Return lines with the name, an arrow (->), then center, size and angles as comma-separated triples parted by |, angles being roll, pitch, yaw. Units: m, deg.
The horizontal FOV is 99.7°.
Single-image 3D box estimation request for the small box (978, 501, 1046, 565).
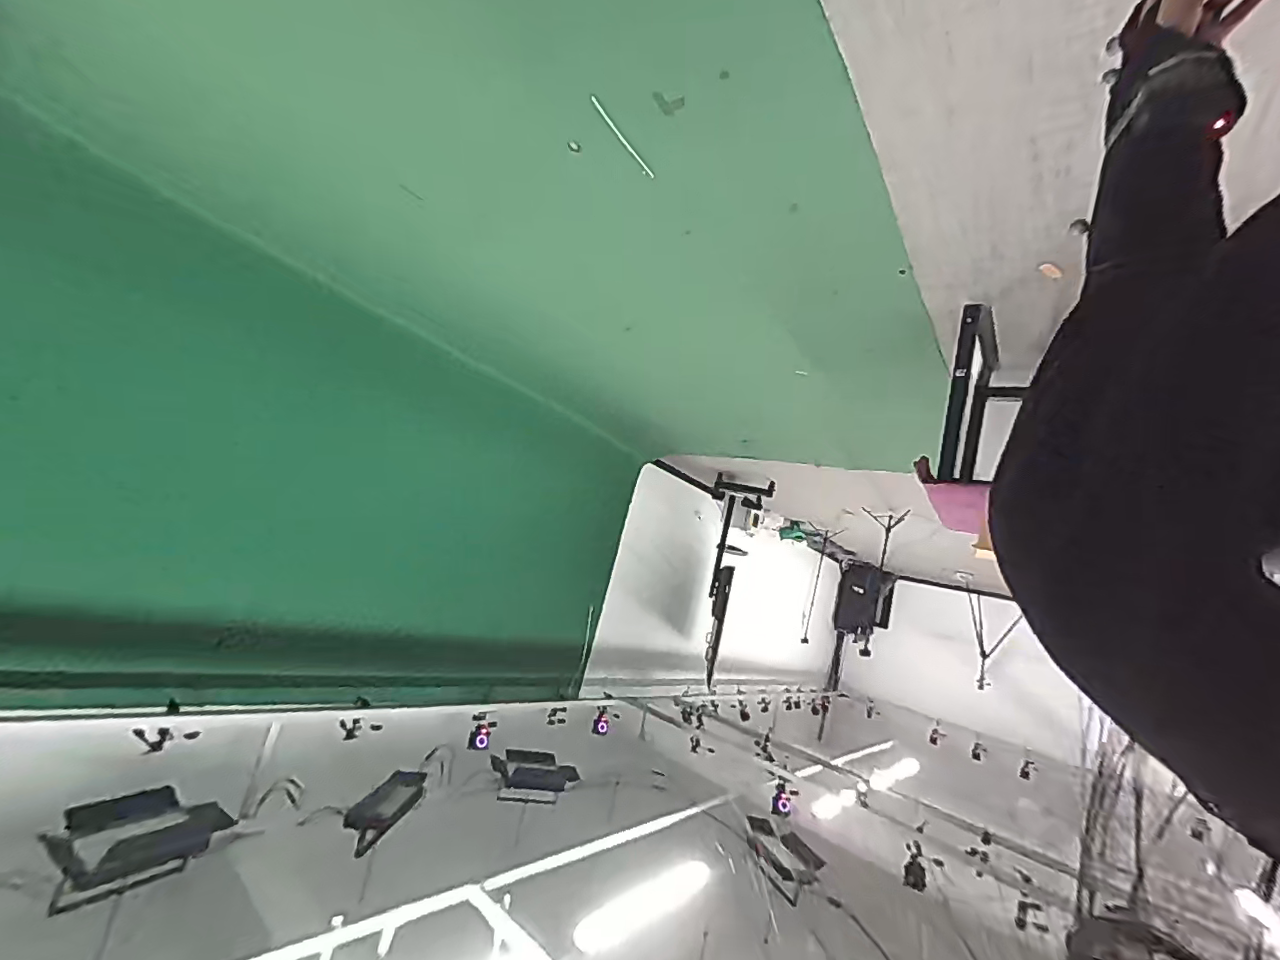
small box -> 1.234, 0.175, 1.796 | 0.168, 0.176, 0.179 | 8, 169, 31
